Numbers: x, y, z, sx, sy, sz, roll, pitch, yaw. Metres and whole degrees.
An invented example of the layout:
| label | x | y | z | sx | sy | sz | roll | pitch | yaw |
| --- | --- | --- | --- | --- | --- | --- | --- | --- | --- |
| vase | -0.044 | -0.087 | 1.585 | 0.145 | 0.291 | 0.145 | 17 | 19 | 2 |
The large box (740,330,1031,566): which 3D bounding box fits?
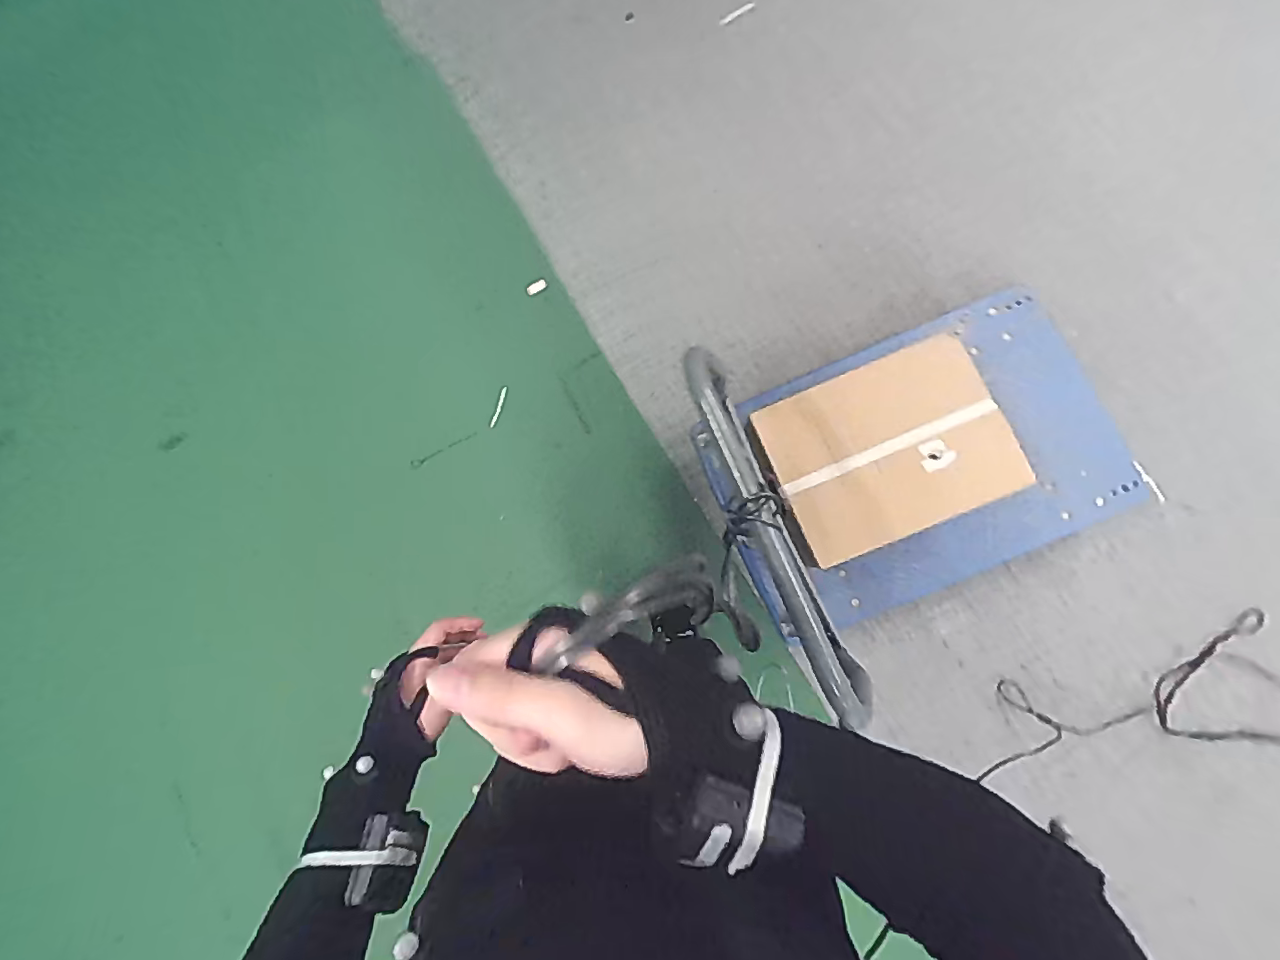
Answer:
| label | x | y | z | sx | sy | sz | roll | pitch | yaw |
| --- | --- | --- | --- | --- | --- | --- | --- | --- | --- |
| large box | 0.462 | -0.038 | 1.124 | 0.408 | 0.320 | 0.320 | -23 | 80 | 2 |
